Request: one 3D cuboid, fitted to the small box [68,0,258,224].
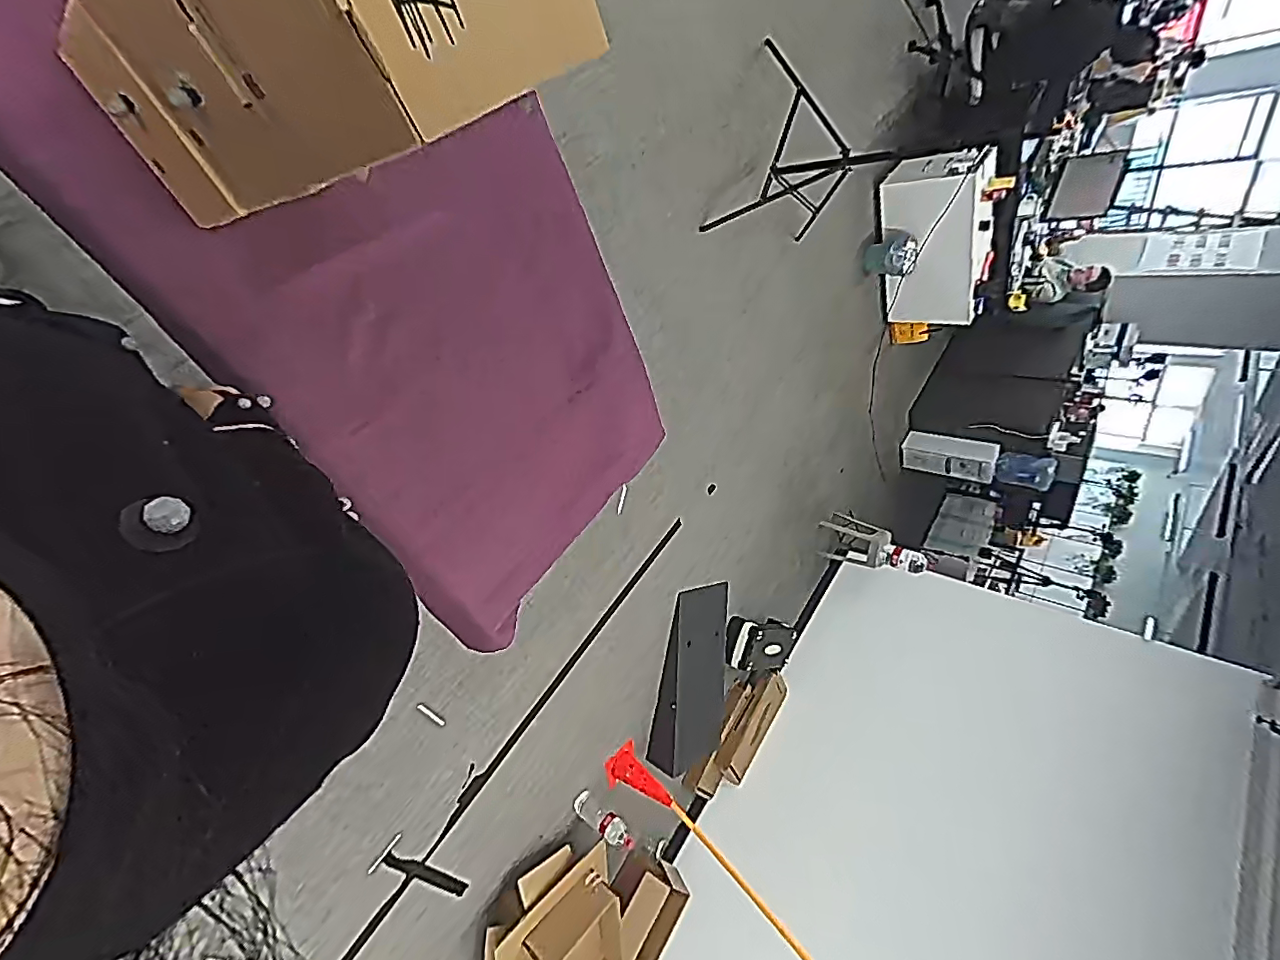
[{"bbox_3d":[-0.413,-0.379,0.547,0.179,0.176,0.168,-49,135,-28],"label":"small box"}]

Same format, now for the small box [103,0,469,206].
[{"bbox_3d":[-0.287,-0.349,0.446,0.179,0.176,0.168,-51,136,-26],"label":"small box"}]
